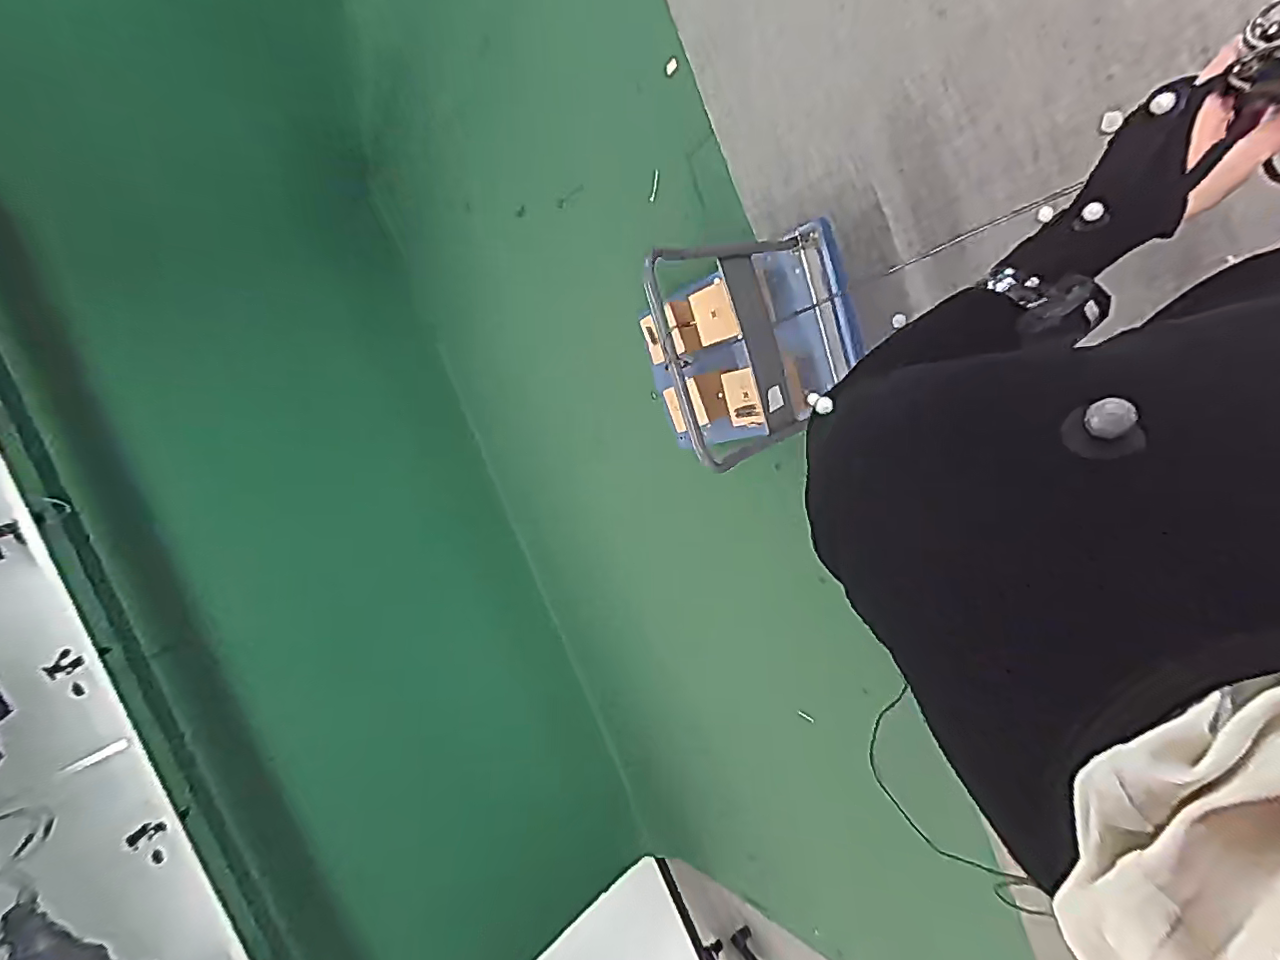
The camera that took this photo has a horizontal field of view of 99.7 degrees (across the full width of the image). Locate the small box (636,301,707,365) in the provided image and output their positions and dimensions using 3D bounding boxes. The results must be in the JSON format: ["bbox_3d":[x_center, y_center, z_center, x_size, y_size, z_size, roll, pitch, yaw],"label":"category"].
[{"bbox_3d":[0.119,-0.520,1.903,0.179,0.176,0.168,-10,103,53],"label":"small box"}]

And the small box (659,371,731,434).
[{"bbox_3d":[0.203,-0.279,1.937,0.179,0.176,0.168,-12,99,54],"label":"small box"}]

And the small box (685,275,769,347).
[{"bbox_3d":[0.275,-0.530,1.699,0.179,0.176,0.168,-5,106,52],"label":"small box"}]
